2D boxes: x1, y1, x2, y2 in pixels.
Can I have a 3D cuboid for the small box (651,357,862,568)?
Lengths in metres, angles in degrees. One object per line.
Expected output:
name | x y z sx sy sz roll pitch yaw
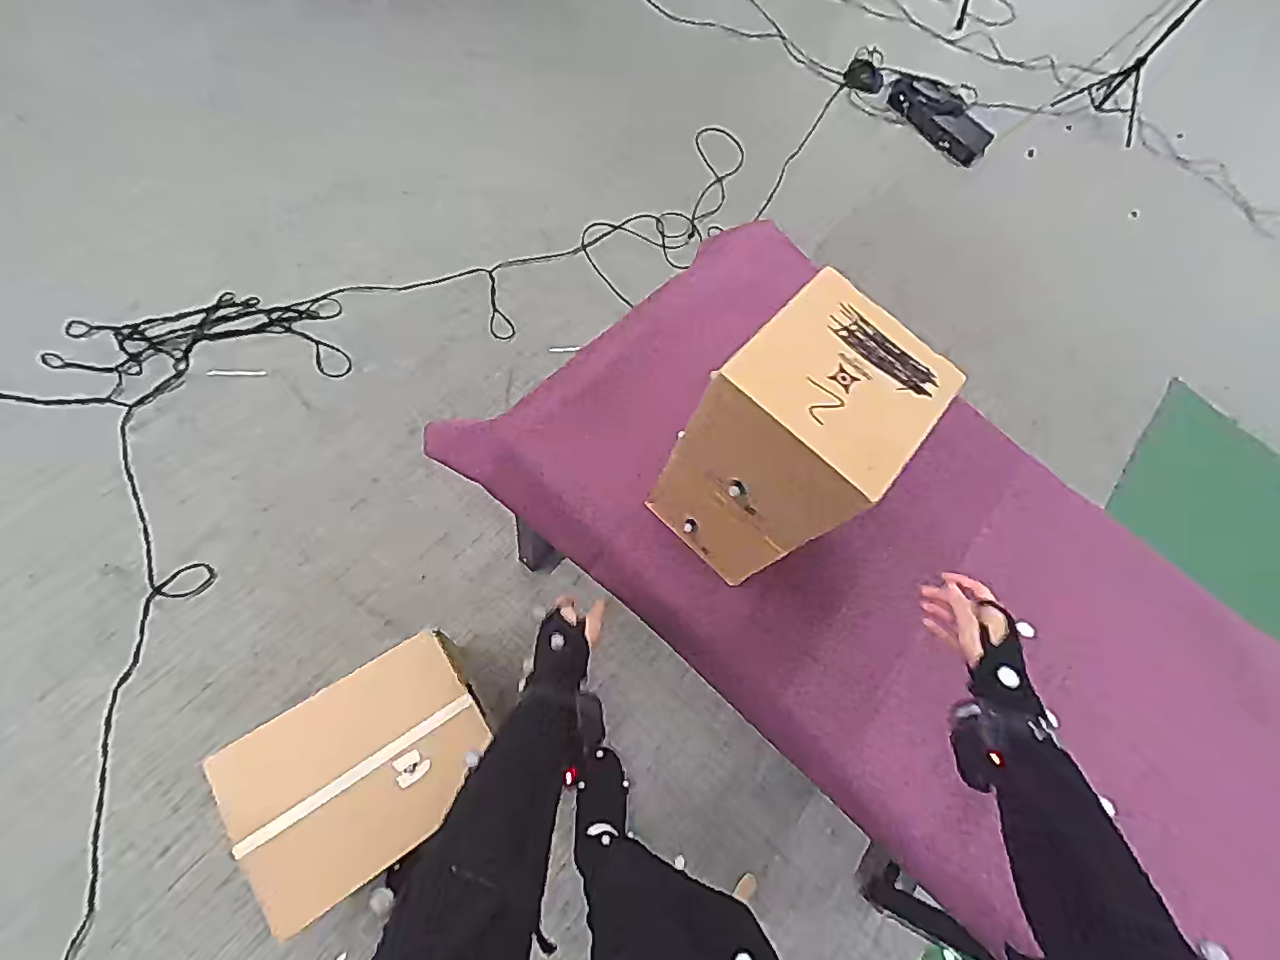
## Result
small box | 0.135 -0.015 0.691 0.168 0.176 0.179 43 67 7
